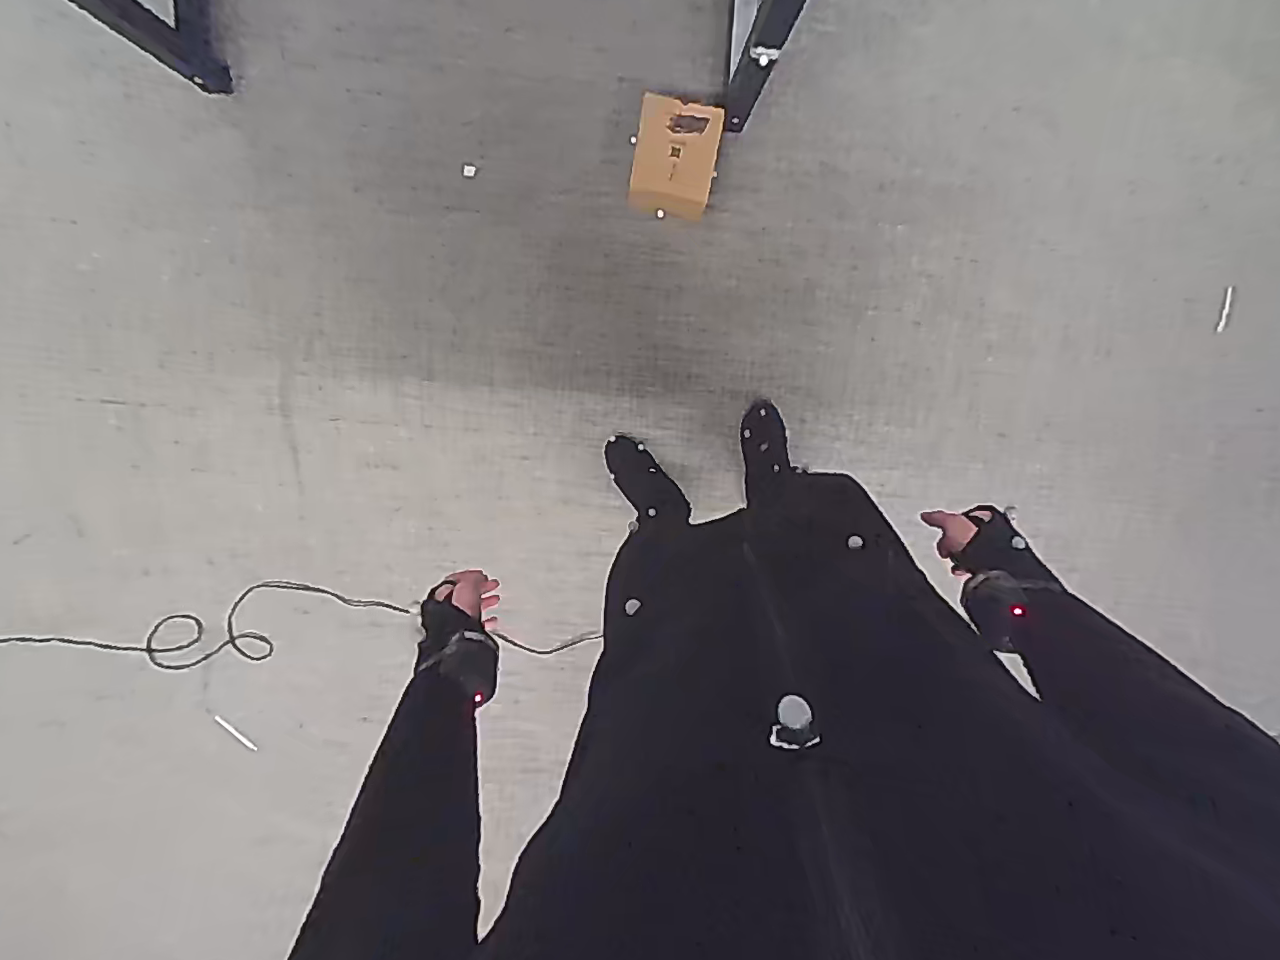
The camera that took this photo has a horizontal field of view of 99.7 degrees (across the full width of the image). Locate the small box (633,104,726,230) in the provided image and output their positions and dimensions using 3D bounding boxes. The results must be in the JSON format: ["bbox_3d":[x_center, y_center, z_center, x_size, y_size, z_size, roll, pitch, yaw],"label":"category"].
[{"bbox_3d":[0.077,-0.668,1.173,0.168,0.176,0.179,9,101,-2],"label":"small box"}]
